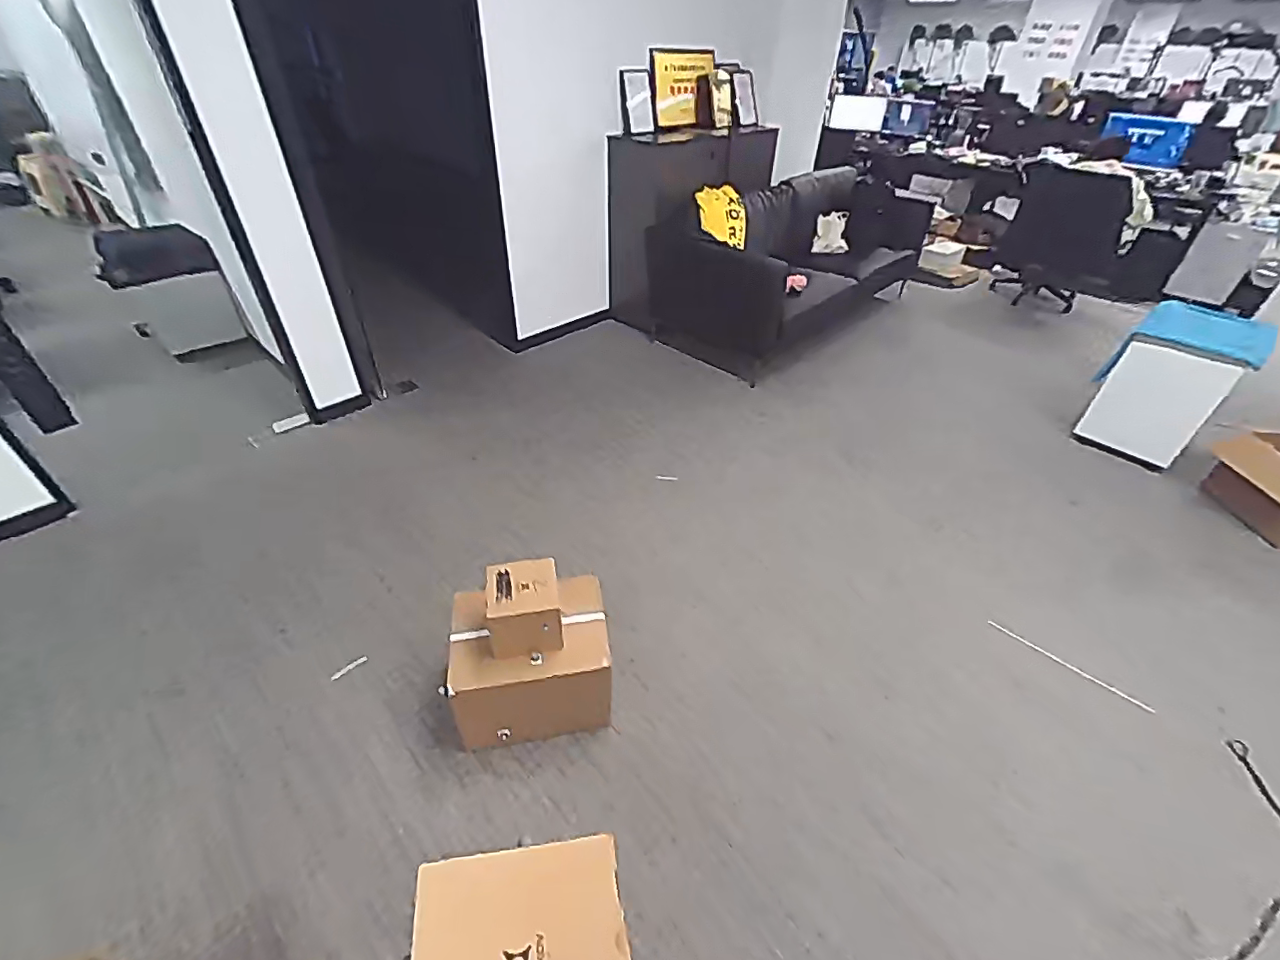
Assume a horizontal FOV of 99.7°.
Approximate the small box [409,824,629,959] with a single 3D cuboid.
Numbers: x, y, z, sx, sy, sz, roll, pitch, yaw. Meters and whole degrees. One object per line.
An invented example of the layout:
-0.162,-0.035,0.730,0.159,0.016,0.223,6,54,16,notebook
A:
-0.112,0.443,0.490,0.179,0.176,0.168,2,42,-18,small box
